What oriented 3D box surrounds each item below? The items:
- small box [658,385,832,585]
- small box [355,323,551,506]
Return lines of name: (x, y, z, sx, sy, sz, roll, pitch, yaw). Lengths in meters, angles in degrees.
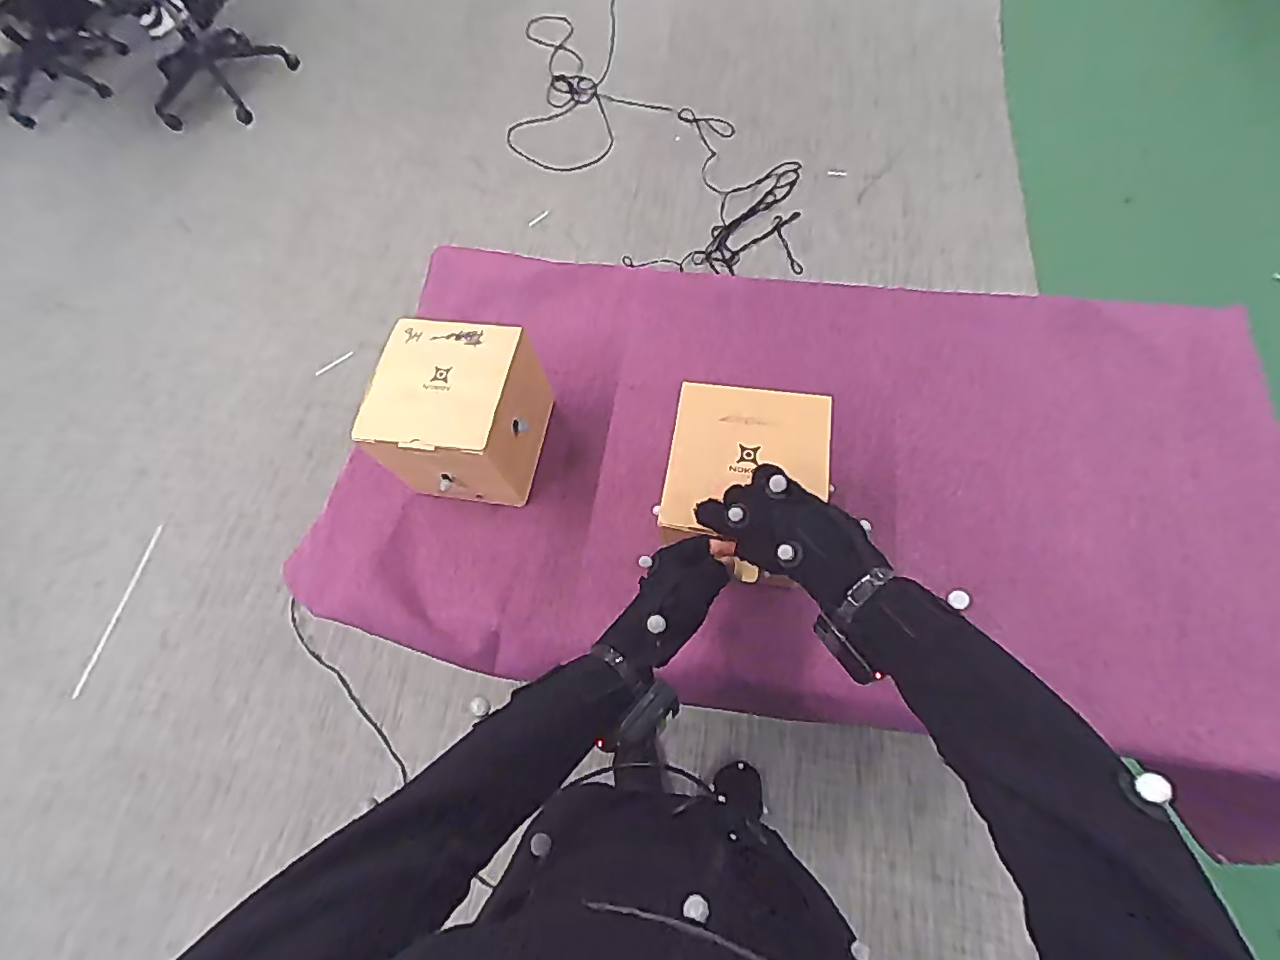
small box: (0.120, 0.014, 0.637, 0.168, 0.176, 0.179, 8, 66, 9)
small box: (-0.228, -0.079, 0.712, 0.168, 0.176, 0.179, 7, 67, 8)
